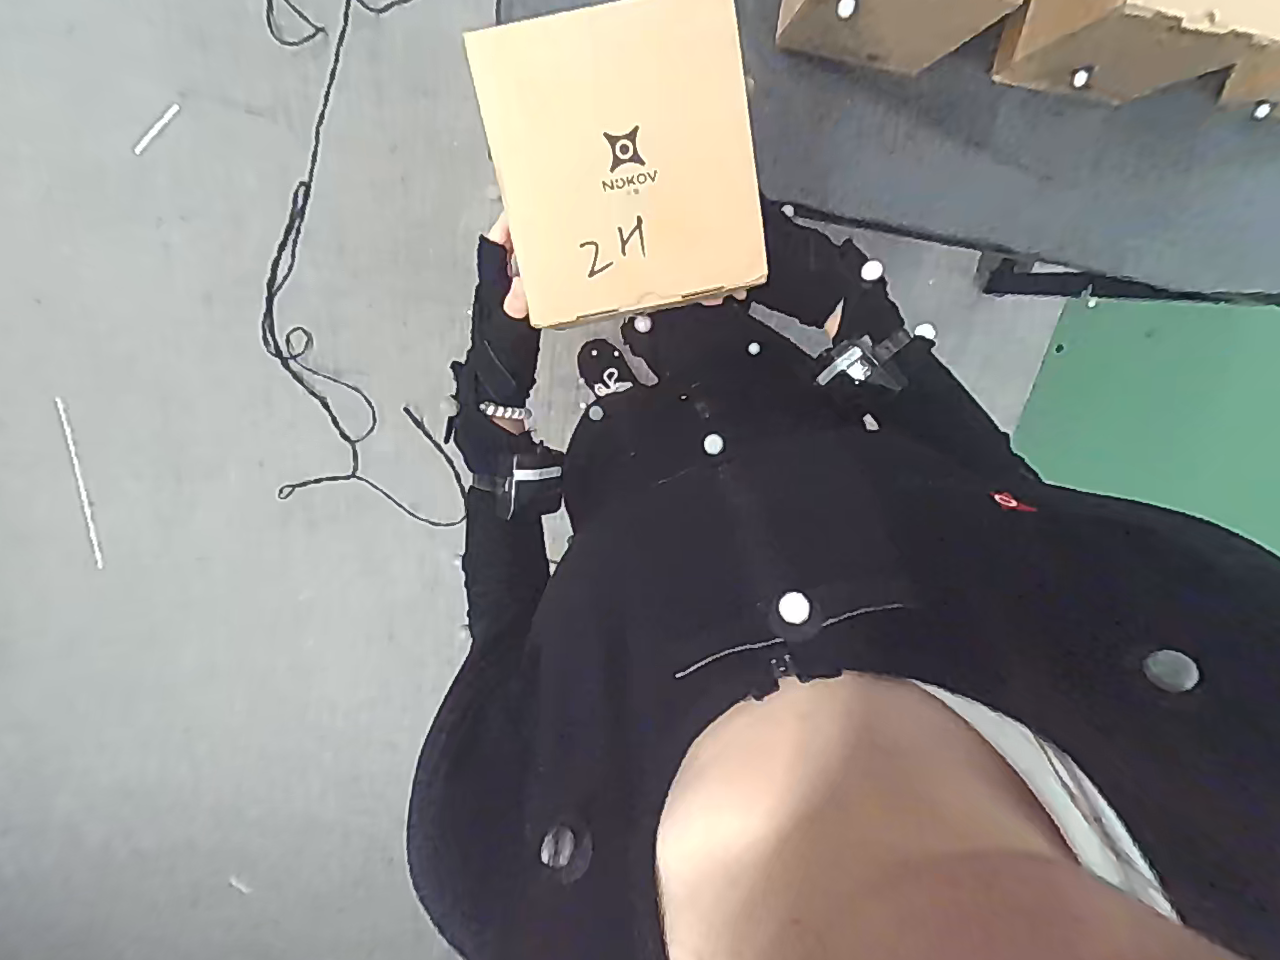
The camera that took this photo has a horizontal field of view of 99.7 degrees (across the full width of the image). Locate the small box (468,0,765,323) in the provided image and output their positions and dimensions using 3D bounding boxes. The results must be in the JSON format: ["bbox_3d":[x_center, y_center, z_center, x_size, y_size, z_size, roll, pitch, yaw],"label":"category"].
[{"bbox_3d":[-0.014,-0.227,0.420,0.168,0.176,0.179,-11,105,1],"label":"small box"}]

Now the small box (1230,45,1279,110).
[{"bbox_3d":[0.772,-0.484,0.539,0.168,0.176,0.179,5,108,-6],"label":"small box"}]

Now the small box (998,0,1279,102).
[{"bbox_3d":[0.490,-0.498,0.515,0.168,0.176,0.179,5,110,-7],"label":"small box"}]
